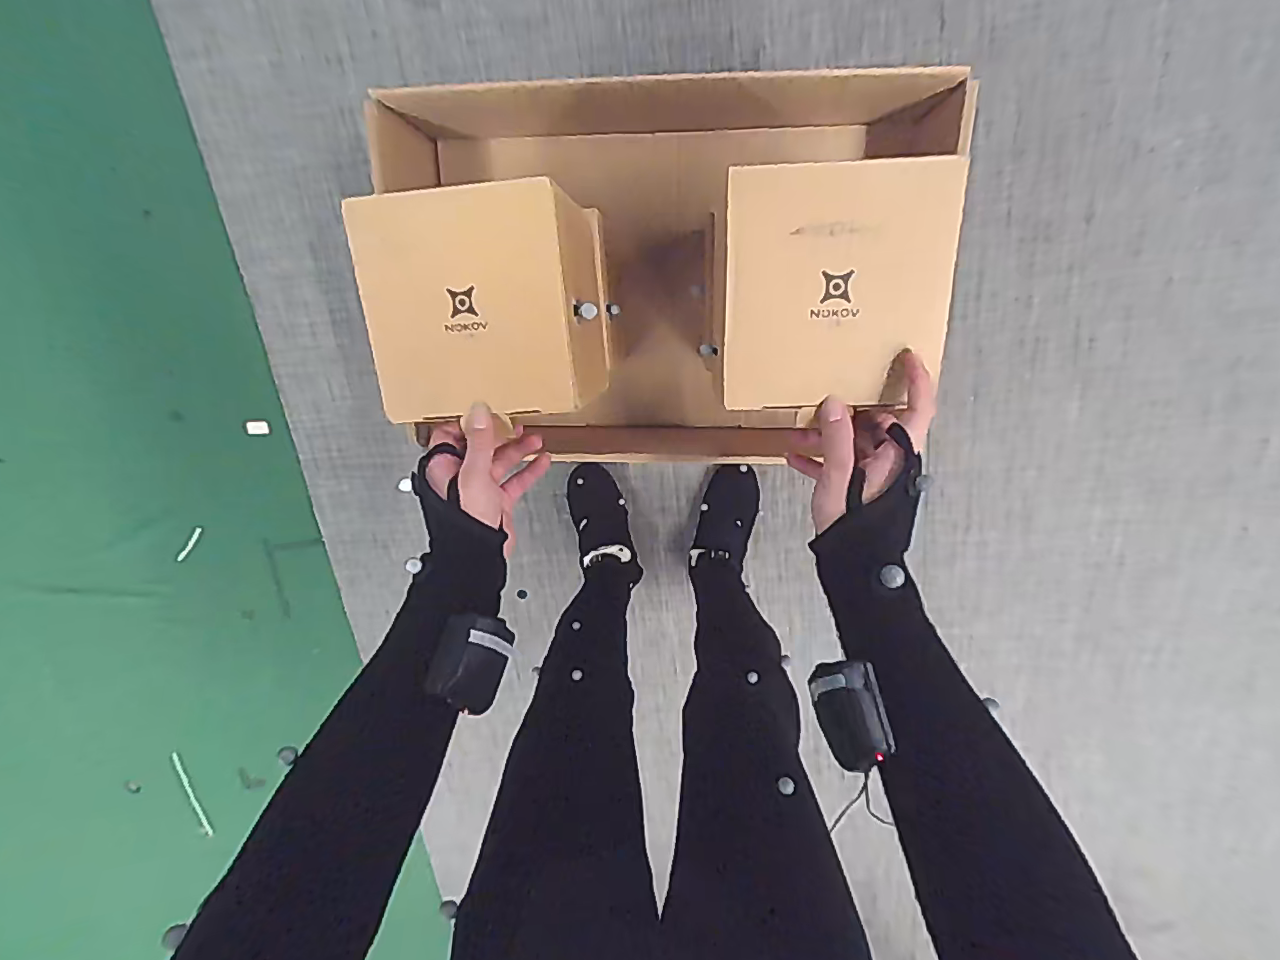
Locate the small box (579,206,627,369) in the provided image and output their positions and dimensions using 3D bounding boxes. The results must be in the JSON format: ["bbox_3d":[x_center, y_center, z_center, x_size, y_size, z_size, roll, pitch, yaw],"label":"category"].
[{"bbox_3d":[-0.114,-0.219,0.647,0.179,0.176,0.168,-1,107,4],"label":"small box"}]

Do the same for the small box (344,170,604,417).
[{"bbox_3d":[-0.130,-0.160,0.495,0.168,0.176,0.179,-3,107,5],"label":"small box"}]

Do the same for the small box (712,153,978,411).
[{"bbox_3d":[0.152,-0.160,0.467,0.168,0.176,0.179,1,106,4],"label":"small box"}]
